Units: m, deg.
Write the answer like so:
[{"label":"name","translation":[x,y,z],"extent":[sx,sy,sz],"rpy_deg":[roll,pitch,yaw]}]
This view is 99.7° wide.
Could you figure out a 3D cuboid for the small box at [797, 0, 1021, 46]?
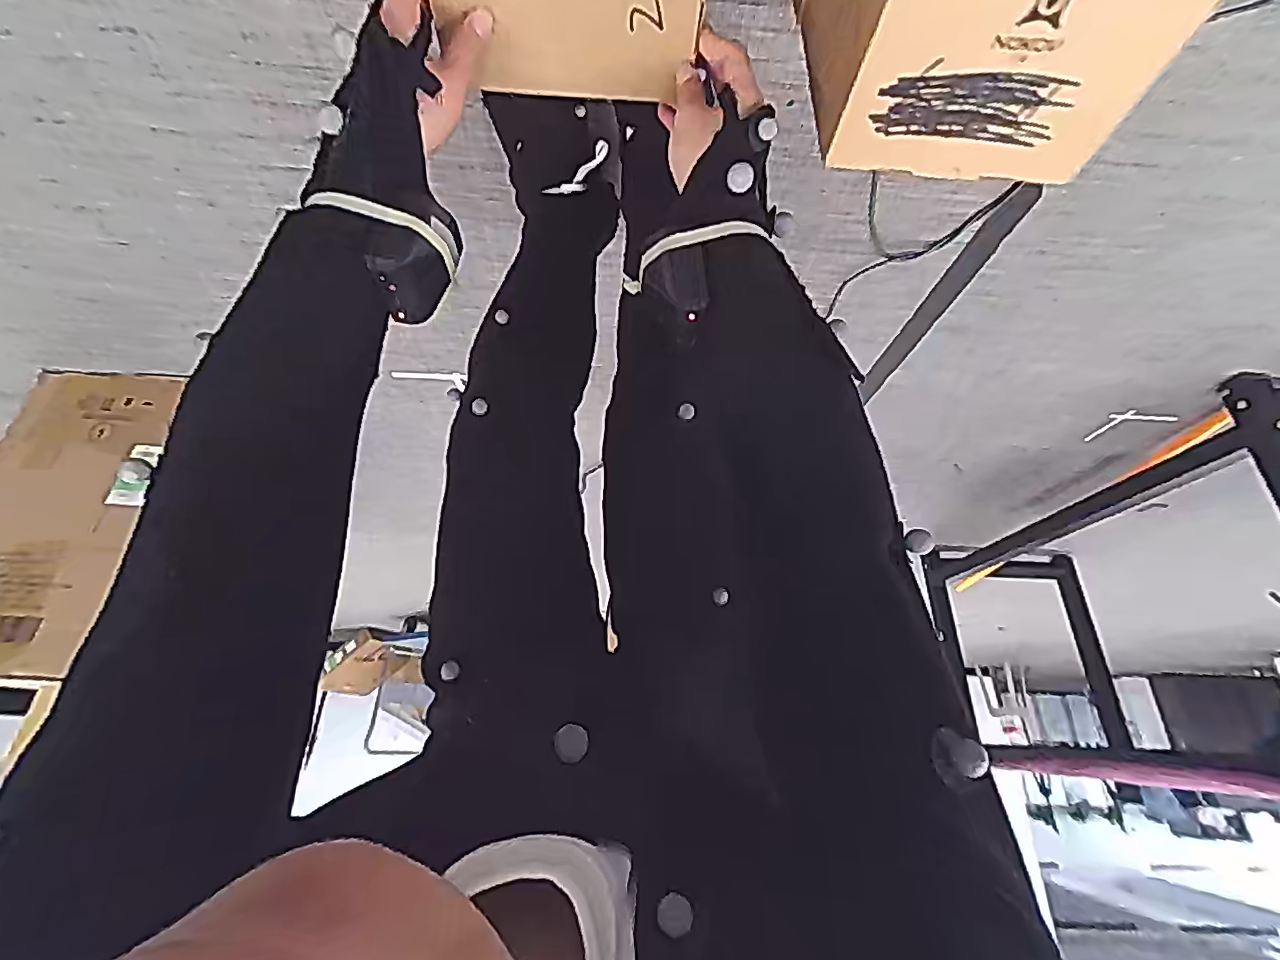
[{"label":"small box","translation":[0.206,-0.456,0.382],"extent":[0.168,0.176,0.179],"rpy_deg":[3,156,-1]}]

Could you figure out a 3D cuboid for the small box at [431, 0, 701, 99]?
[{"label":"small box","translation":[-0.045,-0.390,0.351],"extent":[0.179,0.176,0.168],"rpy_deg":[1,156,-4]}]
